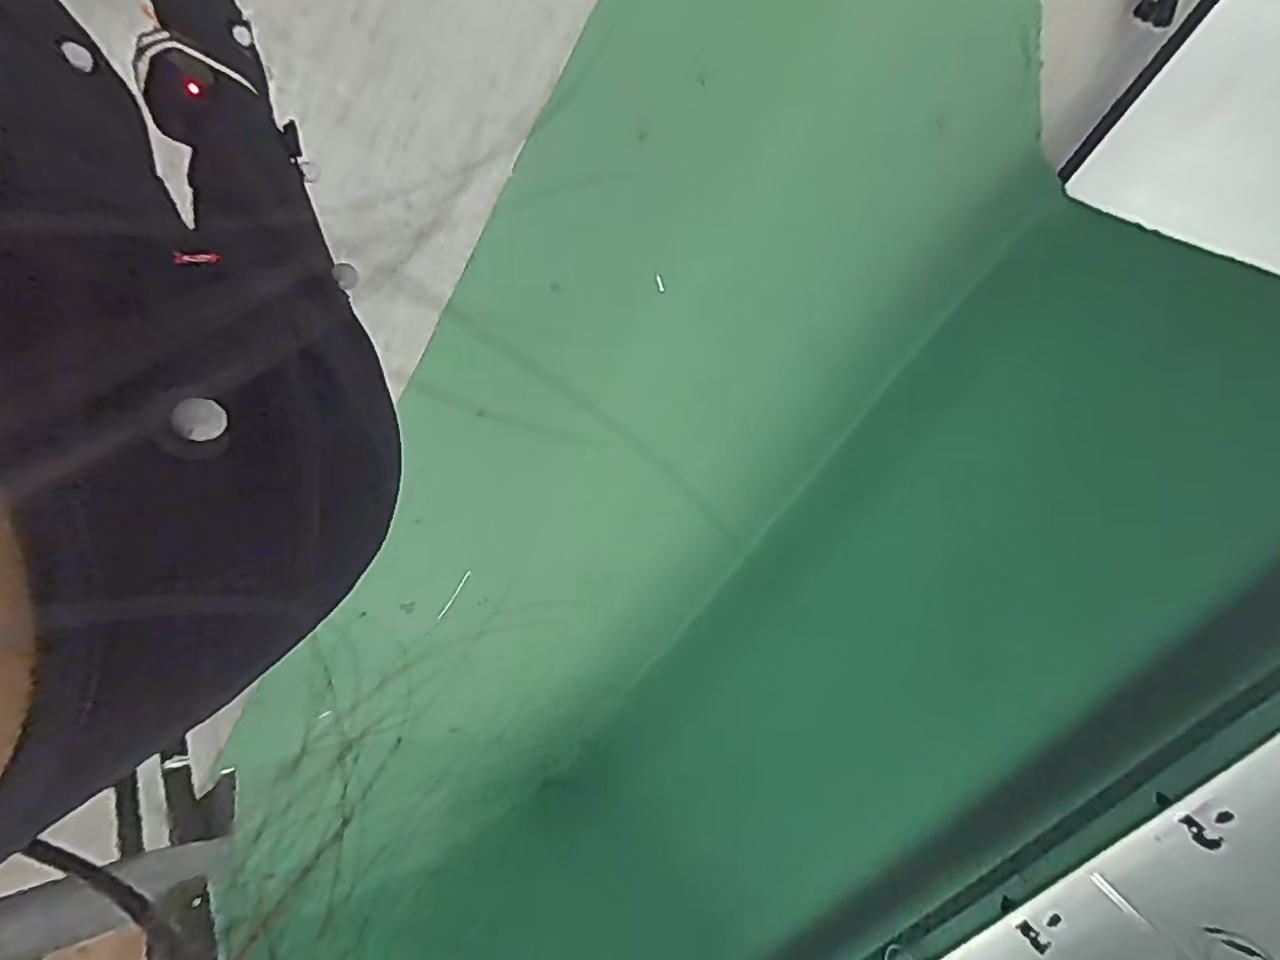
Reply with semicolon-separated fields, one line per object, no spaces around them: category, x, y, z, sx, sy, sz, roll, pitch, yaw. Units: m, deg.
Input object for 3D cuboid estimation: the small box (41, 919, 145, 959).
small box;-1.251;1.146;1.221;0.168;0.176;0.179;13;119;-52
